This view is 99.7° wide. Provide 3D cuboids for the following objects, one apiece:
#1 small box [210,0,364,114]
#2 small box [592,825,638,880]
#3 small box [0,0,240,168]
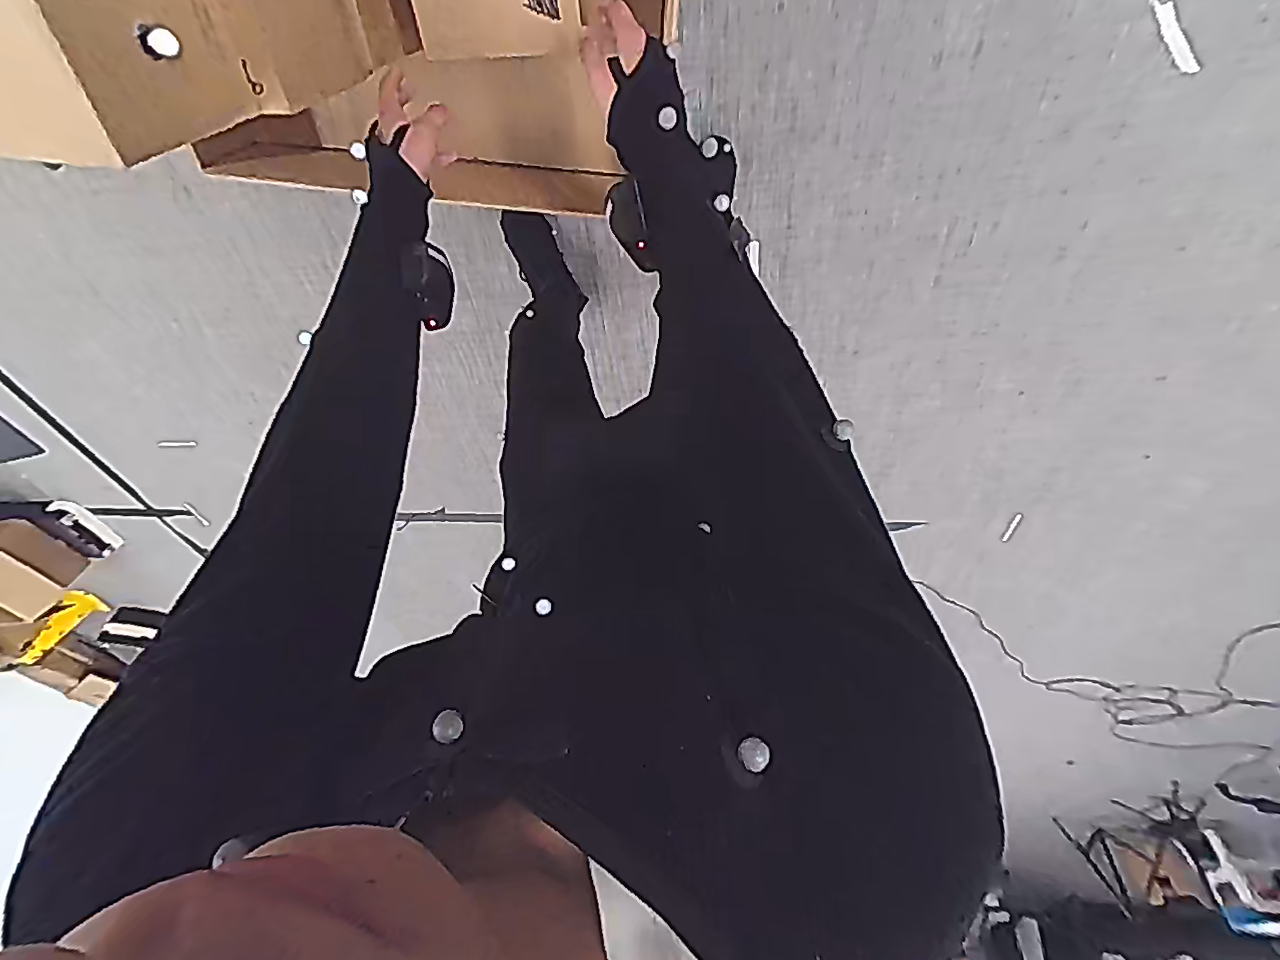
[{"bbox_3d":[-0.380,-0.444,0.475,0.168,0.176,0.179,3,135,3],"label":"small box"},{"bbox_3d":[-0.105,1.644,2.386,0.179,0.176,0.168,1,134,8],"label":"small box"},{"bbox_3d":[-0.417,-0.330,0.361,0.179,0.176,0.168,5,135,1],"label":"small box"}]
